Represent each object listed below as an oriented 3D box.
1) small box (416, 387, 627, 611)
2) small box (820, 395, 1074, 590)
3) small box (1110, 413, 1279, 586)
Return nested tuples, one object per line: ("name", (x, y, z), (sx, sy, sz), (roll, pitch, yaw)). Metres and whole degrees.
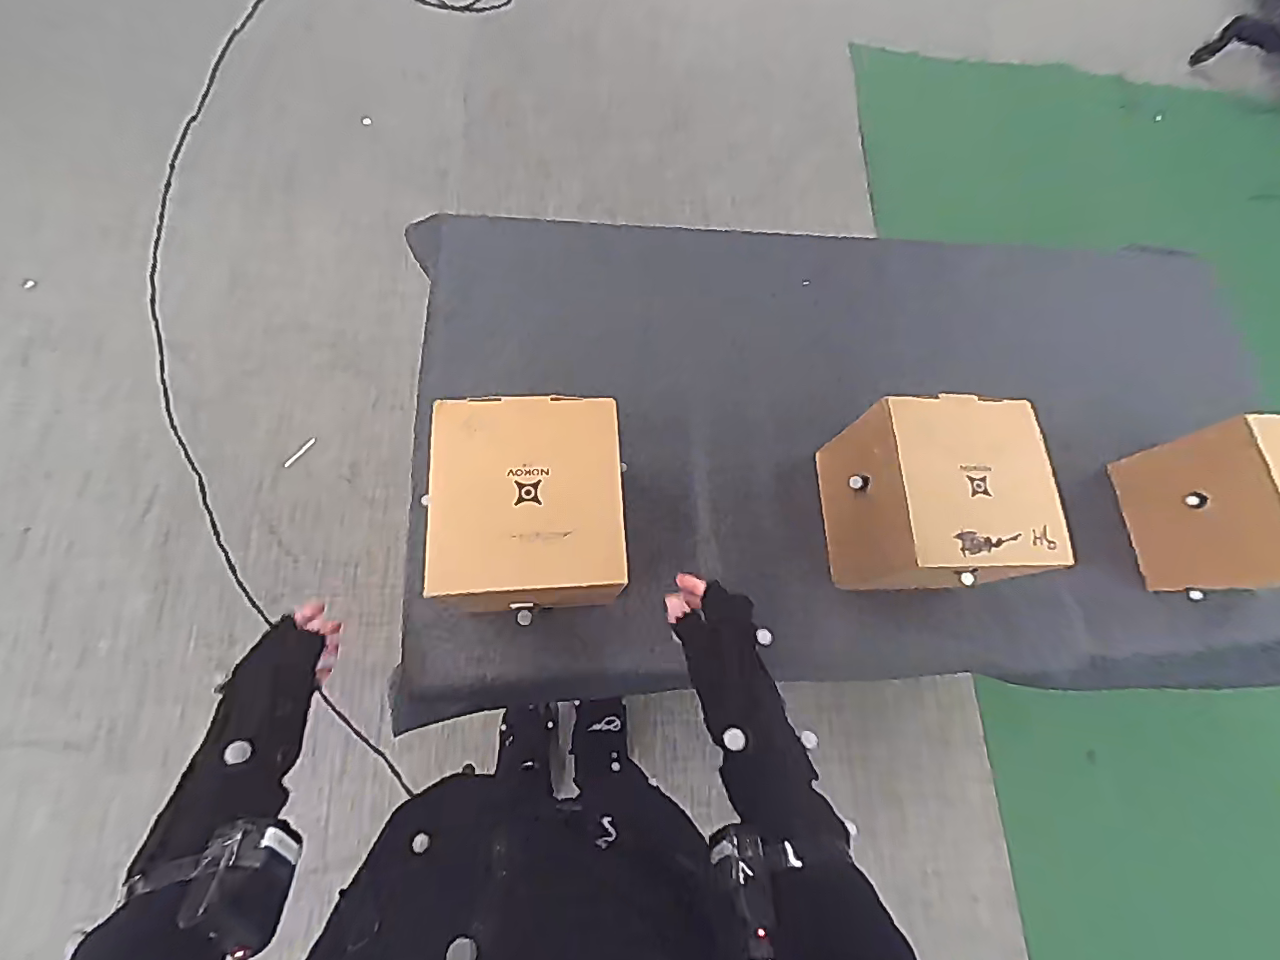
("small box", (-0.102, 0.028, 0.524), (0.168, 0.176, 0.179), (0, 71, -6))
("small box", (0.319, 0.023, 0.605), (0.168, 0.176, 0.179), (0, 71, -7))
("small box", (0.737, 0.033, 0.656), (0.168, 0.176, 0.179), (0, 71, -7))
